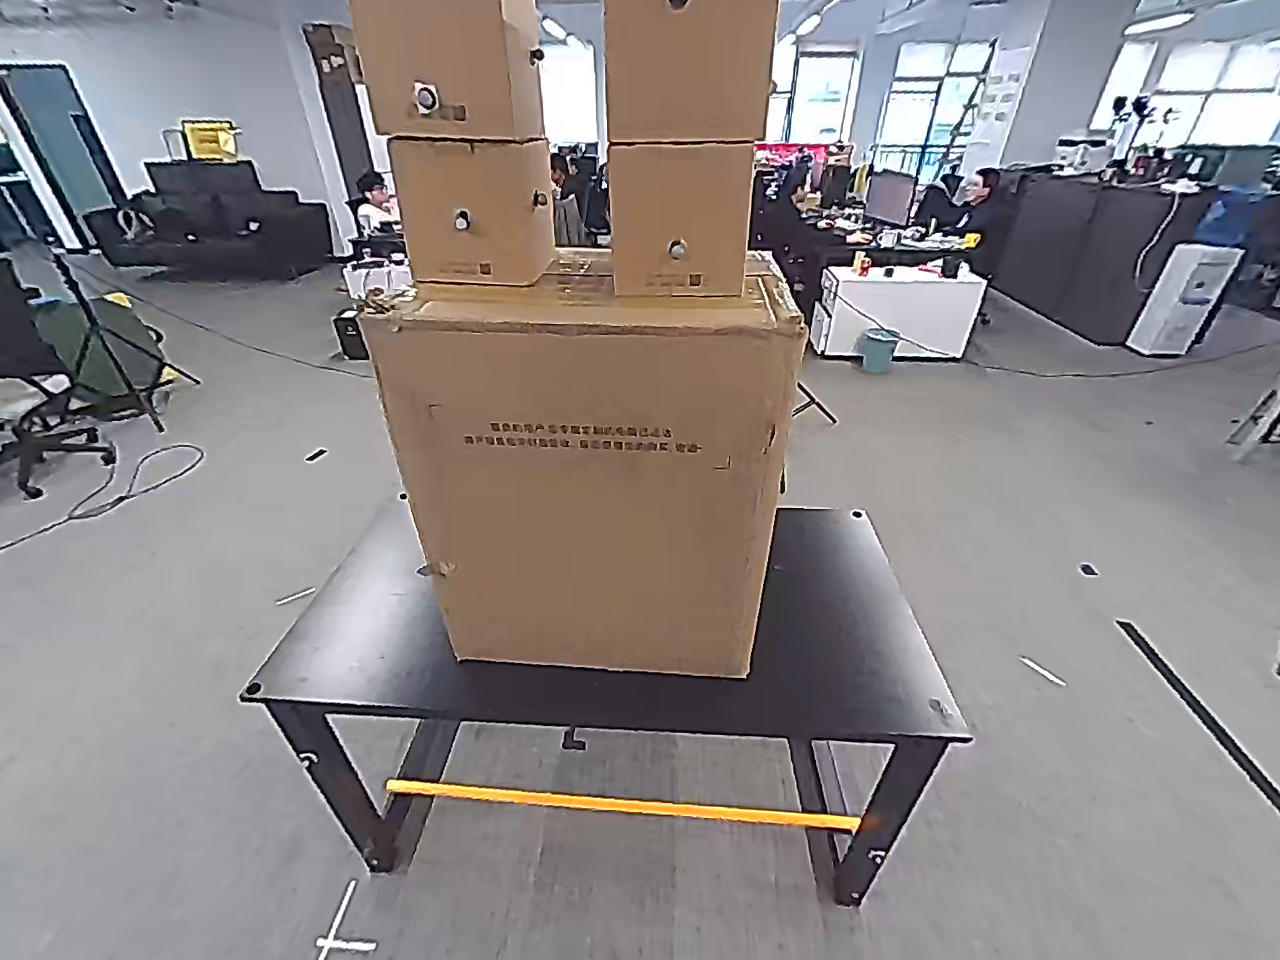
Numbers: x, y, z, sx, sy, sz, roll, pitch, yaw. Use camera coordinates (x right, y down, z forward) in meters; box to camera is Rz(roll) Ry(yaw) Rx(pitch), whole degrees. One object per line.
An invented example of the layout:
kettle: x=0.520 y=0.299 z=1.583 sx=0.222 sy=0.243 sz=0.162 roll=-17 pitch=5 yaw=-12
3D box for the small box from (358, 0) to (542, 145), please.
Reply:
small box: x=-0.215 y=-0.506 z=0.648 sx=0.168 sy=0.176 sz=0.179 roll=1 pitch=34 yaw=1

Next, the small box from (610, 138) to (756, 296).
small box: x=0.054 y=-0.349 z=0.708 sx=0.168 sy=0.176 sz=0.179 roll=1 pitch=34 yaw=4

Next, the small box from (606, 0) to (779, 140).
small box: x=0.056 y=-0.483 z=0.612 sx=0.179 sy=0.176 sz=0.168 roll=2 pitch=34 yaw=3

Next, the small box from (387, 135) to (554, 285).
small box: x=-0.216 y=-0.377 z=0.749 sx=0.168 sy=0.176 sz=0.179 roll=3 pitch=34 yaw=1
